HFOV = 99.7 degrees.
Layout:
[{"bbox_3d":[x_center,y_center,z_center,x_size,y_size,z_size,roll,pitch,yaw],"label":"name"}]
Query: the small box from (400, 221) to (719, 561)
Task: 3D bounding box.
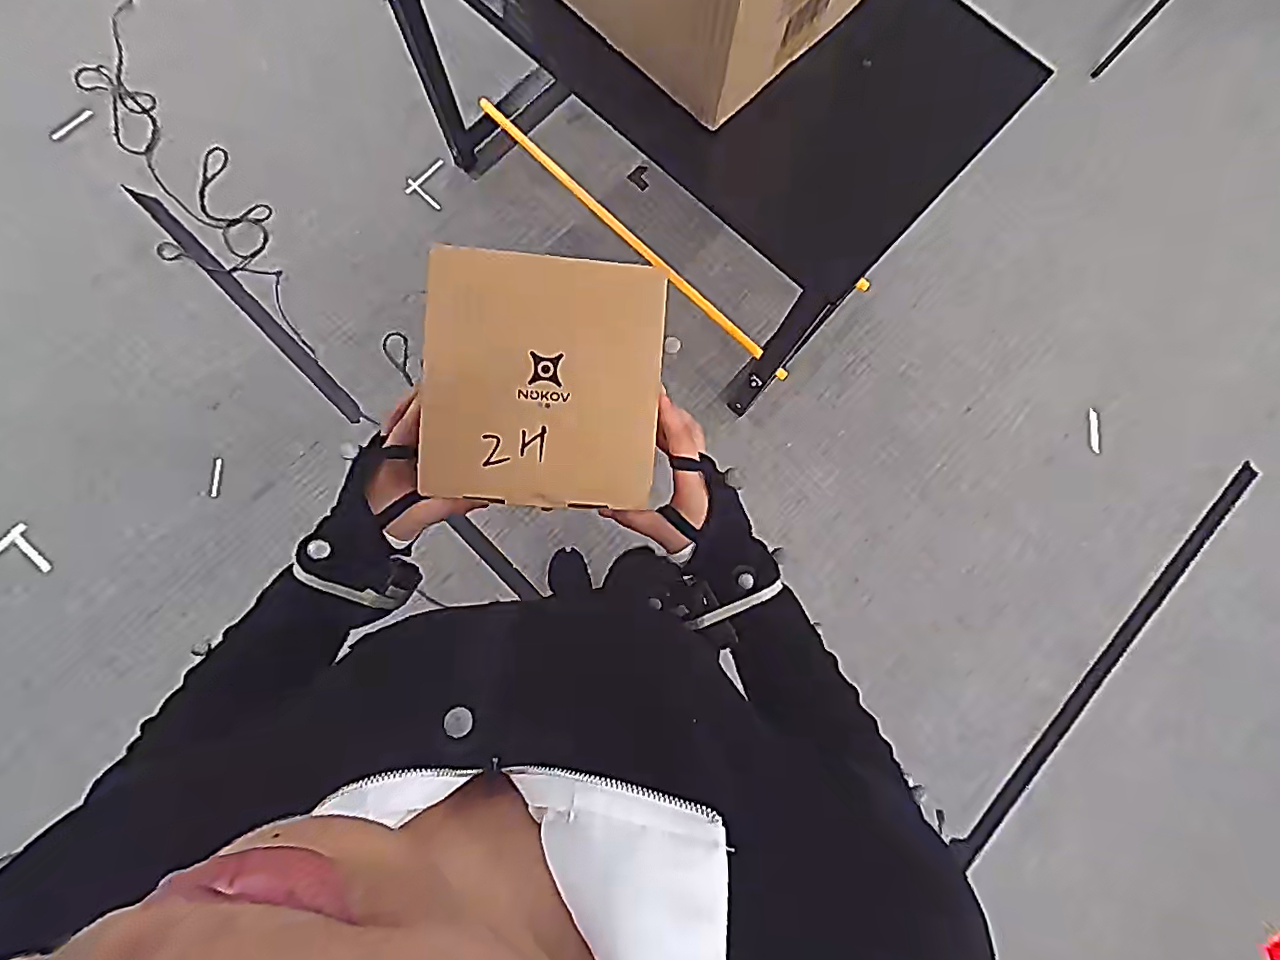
[{"bbox_3d":[-0.050,-0.049,0.376,0.168,0.176,0.179,4,92,-5],"label":"small box"}]
